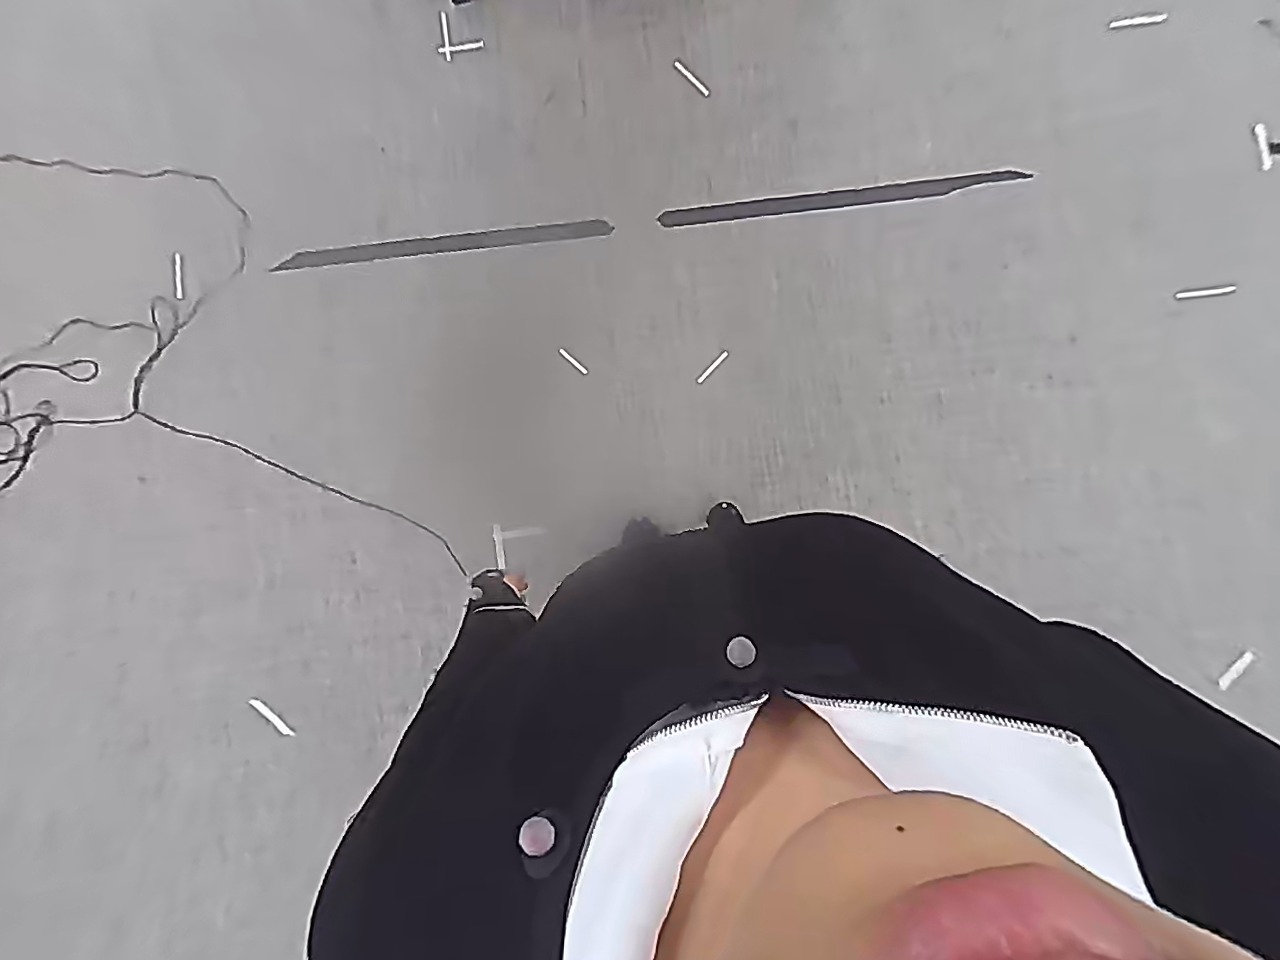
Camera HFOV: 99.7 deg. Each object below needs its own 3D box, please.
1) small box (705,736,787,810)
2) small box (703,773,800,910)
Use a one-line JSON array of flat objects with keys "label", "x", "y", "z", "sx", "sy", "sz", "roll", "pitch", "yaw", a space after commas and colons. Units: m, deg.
[{"label": "small box", "x": 0.249, "y": 0.737, "z": 1.282, "sx": 0.168, "sy": 0.176, "sz": 0.179, "roll": -8, "pitch": 86, "yaw": 3}, {"label": "small box", "x": 0.222, "y": 0.738, "z": 1.117, "sx": 0.168, "sy": 0.176, "sz": 0.179, "roll": -6, "pitch": 87, "yaw": 3}]
